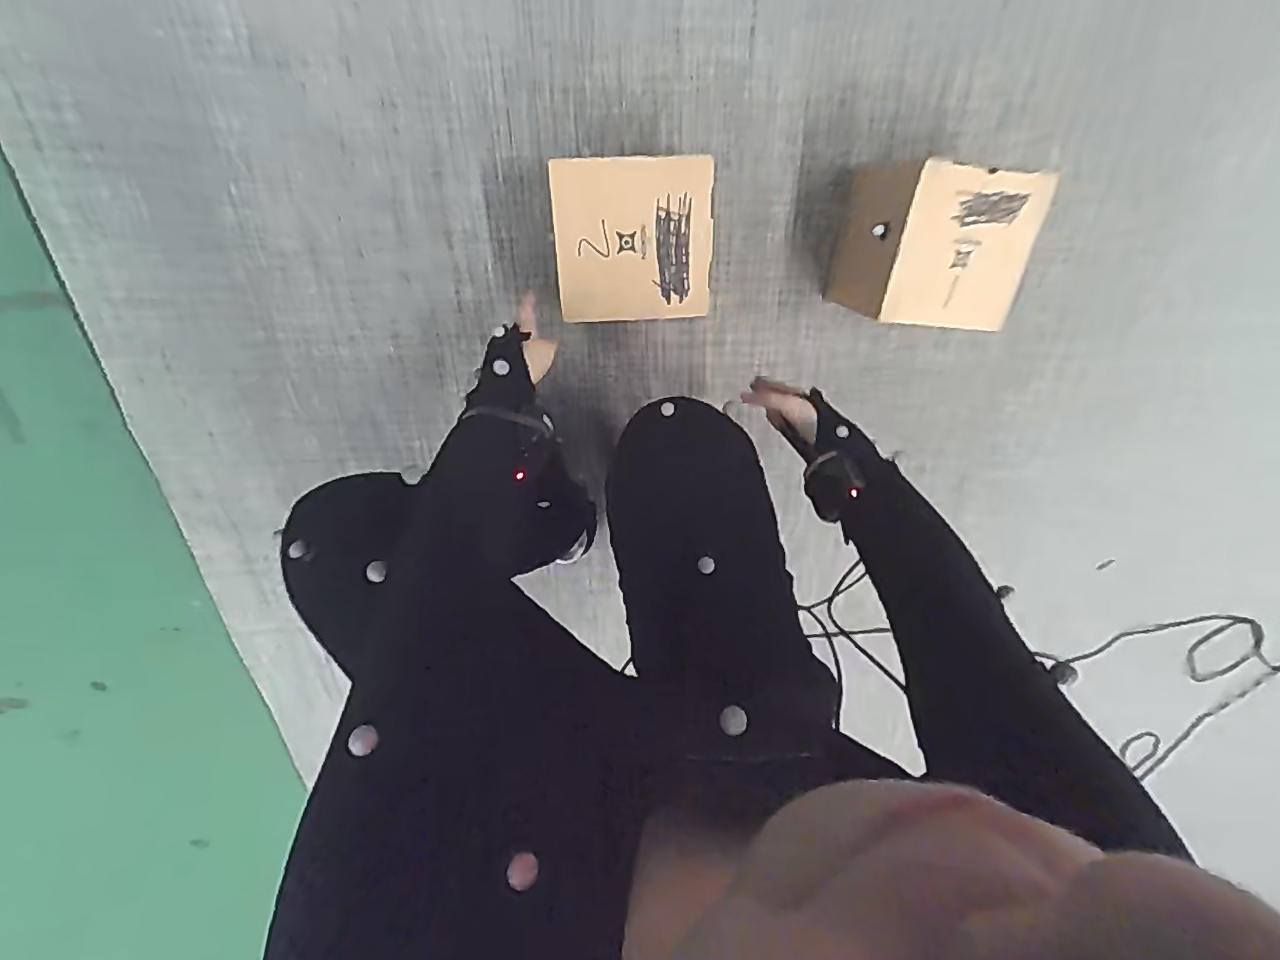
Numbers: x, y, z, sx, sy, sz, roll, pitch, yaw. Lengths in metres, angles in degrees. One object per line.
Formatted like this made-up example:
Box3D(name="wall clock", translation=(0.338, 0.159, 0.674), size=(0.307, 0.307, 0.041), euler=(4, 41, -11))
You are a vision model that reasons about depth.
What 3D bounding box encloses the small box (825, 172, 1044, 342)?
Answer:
Box3D(name="small box", translation=(0.367, -0.293, 0.713), size=(0.168, 0.176, 0.179), euler=(2, 117, -8))
